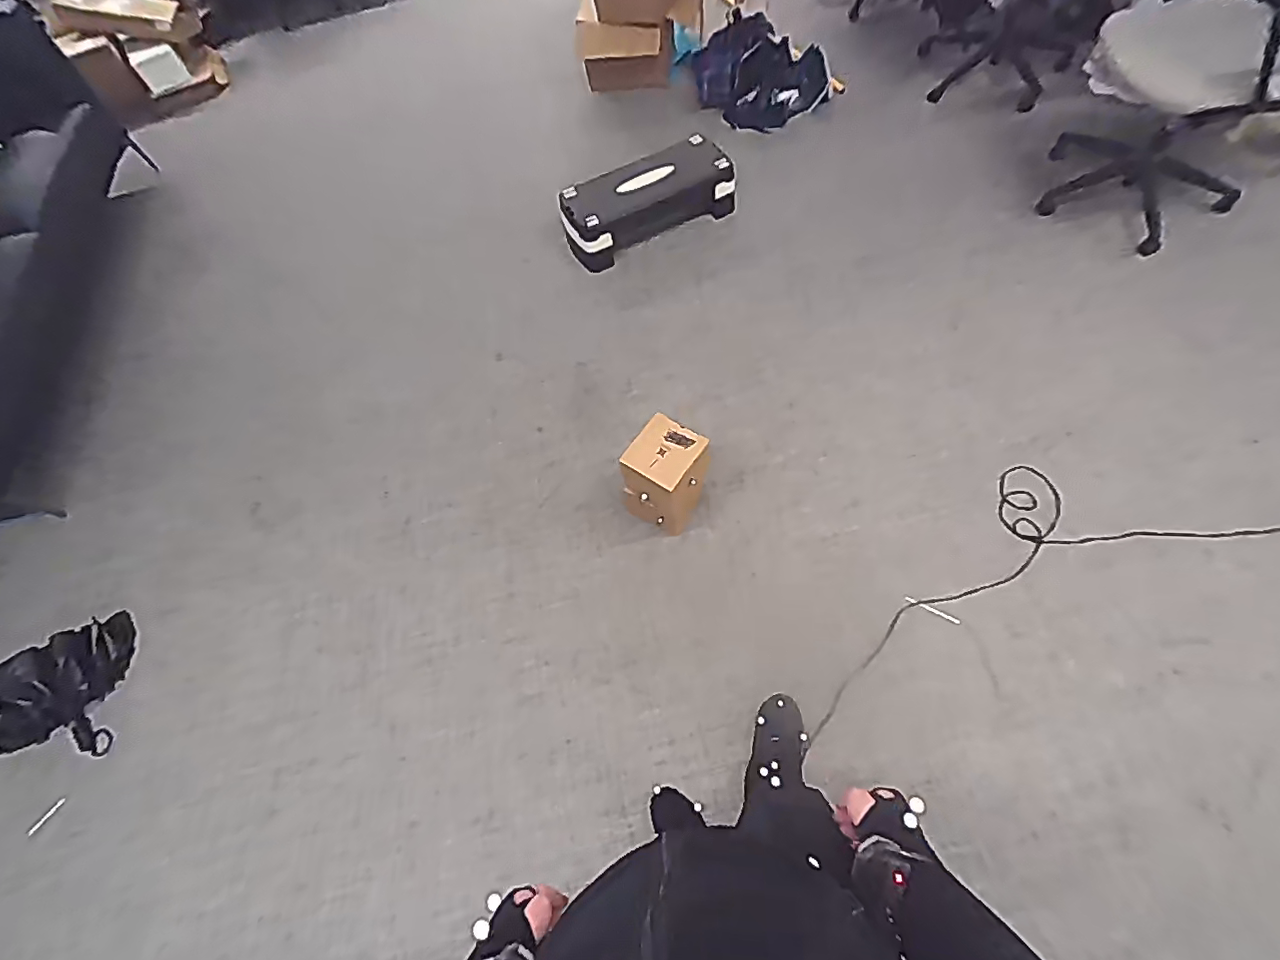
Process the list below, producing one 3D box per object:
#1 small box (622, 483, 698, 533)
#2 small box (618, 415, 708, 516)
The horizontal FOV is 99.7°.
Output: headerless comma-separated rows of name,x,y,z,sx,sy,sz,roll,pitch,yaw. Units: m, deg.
small box,0.067,0.031,1.595,0.168,0.176,0.179,24,67,17
small box,0.064,-0.035,1.444,0.168,0.176,0.179,31,71,20
